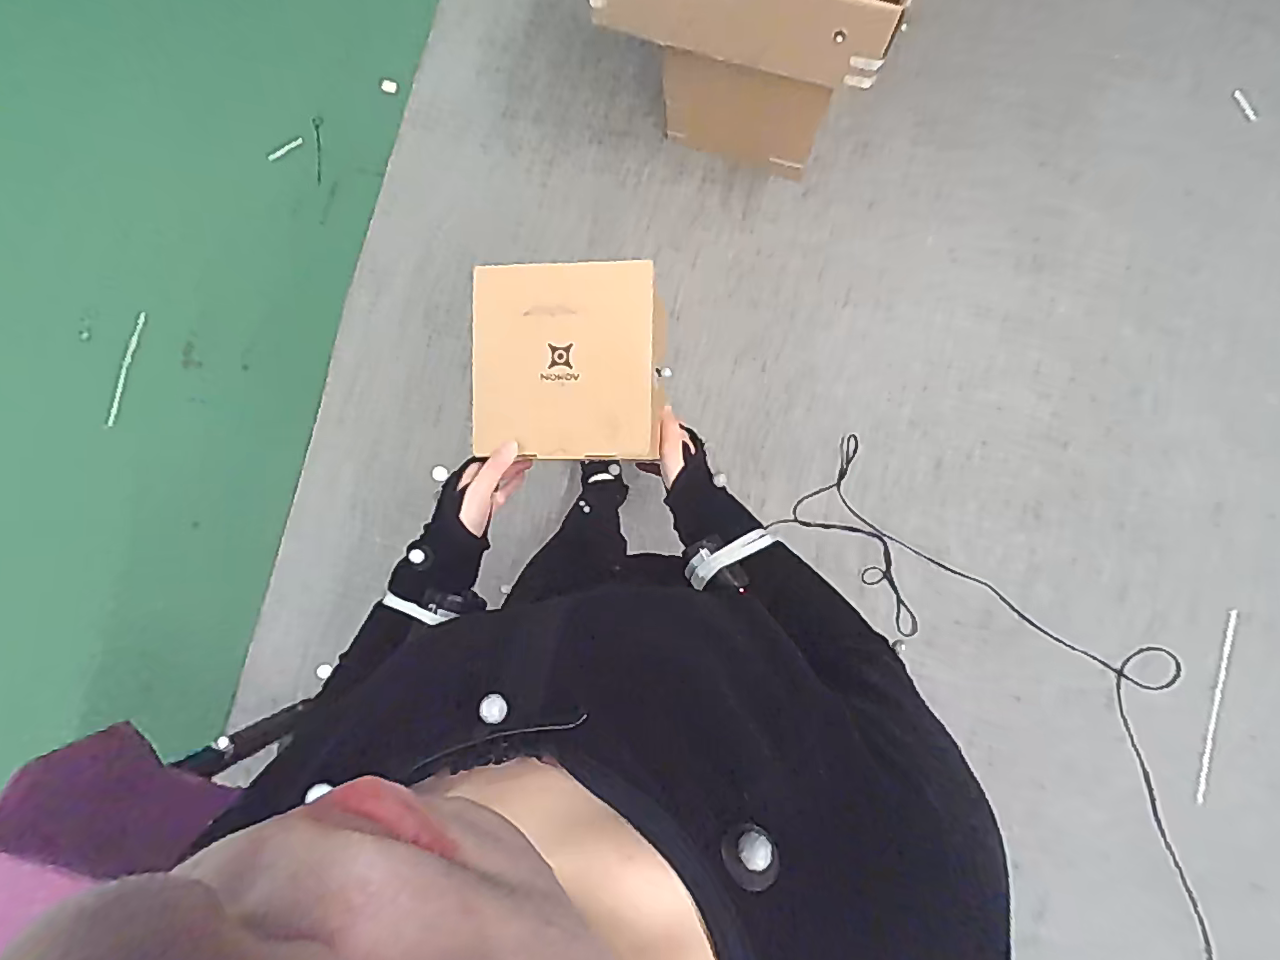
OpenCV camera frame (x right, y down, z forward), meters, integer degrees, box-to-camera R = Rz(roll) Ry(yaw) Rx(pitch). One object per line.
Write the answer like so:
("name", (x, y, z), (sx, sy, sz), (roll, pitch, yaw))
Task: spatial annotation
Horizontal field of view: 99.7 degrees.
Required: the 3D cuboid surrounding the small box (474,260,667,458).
("small box", (-0.059, -0.113, 0.566), (0.168, 0.176, 0.179), (2, 92, 6))
